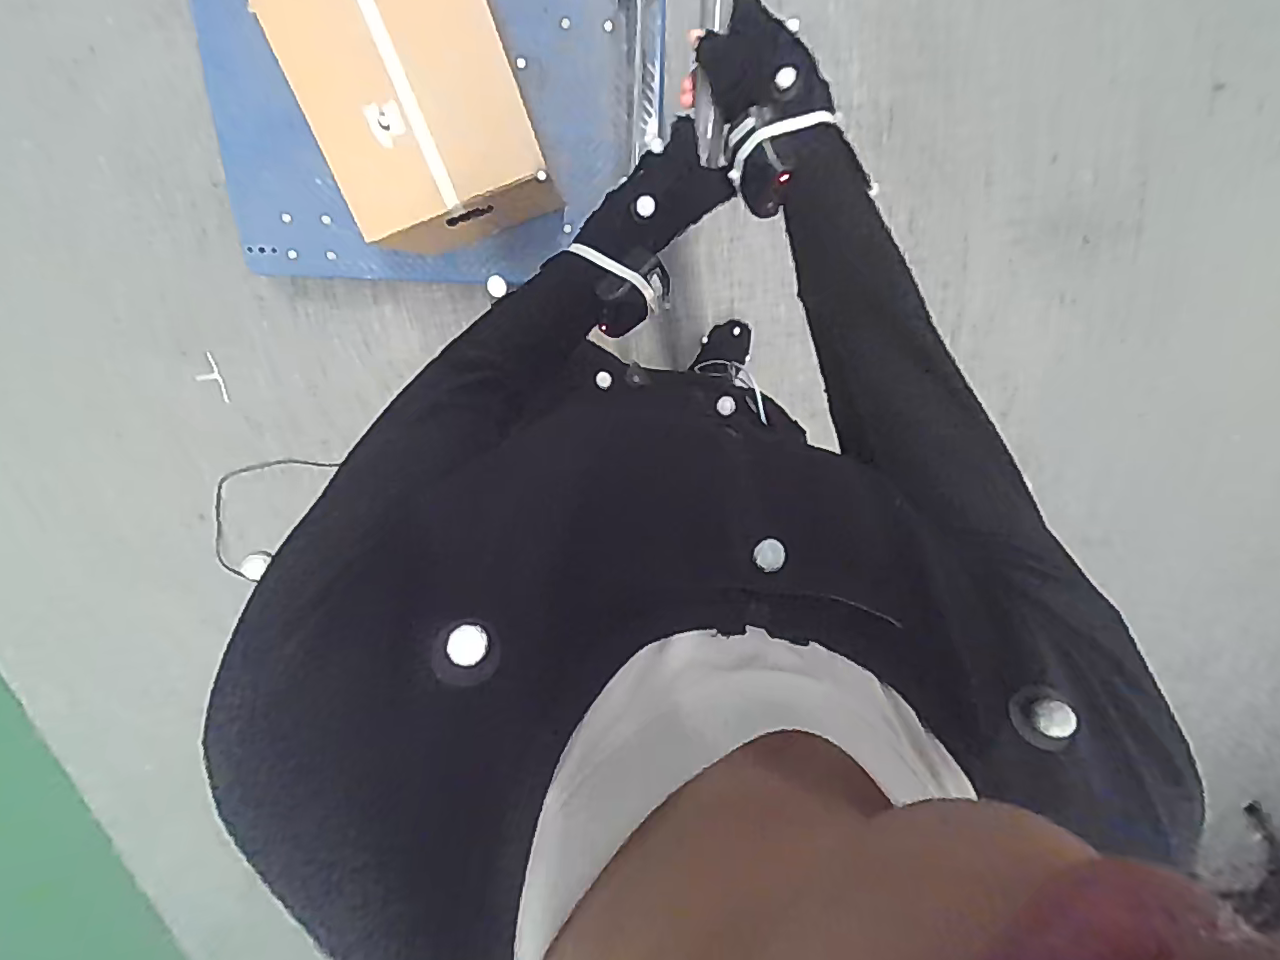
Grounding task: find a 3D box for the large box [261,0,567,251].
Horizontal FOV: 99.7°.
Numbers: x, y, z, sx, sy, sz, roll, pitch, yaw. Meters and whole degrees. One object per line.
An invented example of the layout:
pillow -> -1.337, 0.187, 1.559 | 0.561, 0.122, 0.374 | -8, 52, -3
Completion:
large box -> -0.352, -0.662, 0.935 | 0.320, 0.320, 0.408 | -19, 109, 5
